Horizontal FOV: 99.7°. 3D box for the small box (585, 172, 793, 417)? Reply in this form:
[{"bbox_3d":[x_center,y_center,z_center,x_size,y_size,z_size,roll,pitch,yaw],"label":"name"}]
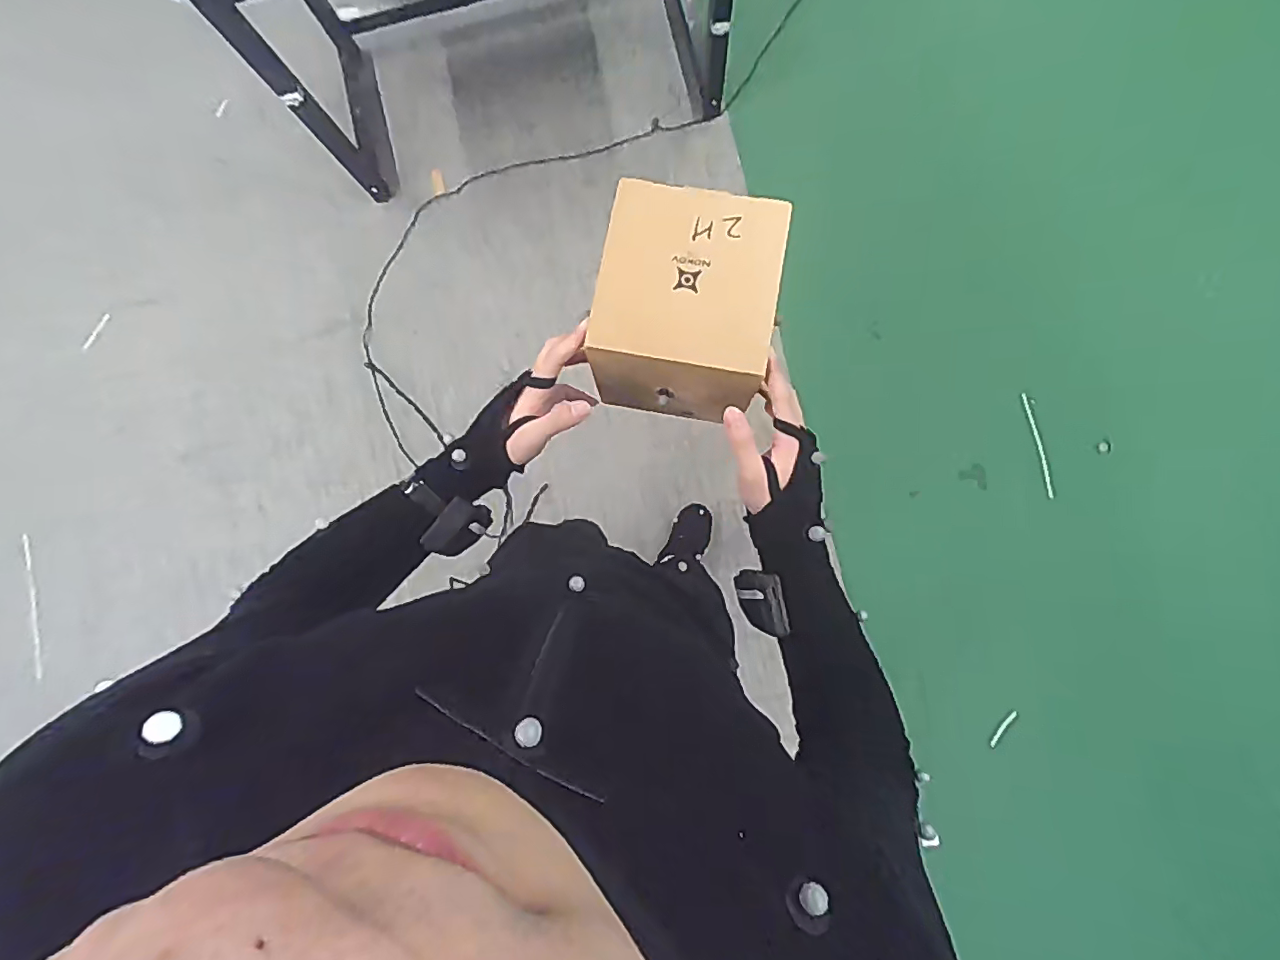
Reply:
[{"bbox_3d":[0.048,-0.177,0.565,0.168,0.176,0.179,10,80,3],"label":"small box"}]
